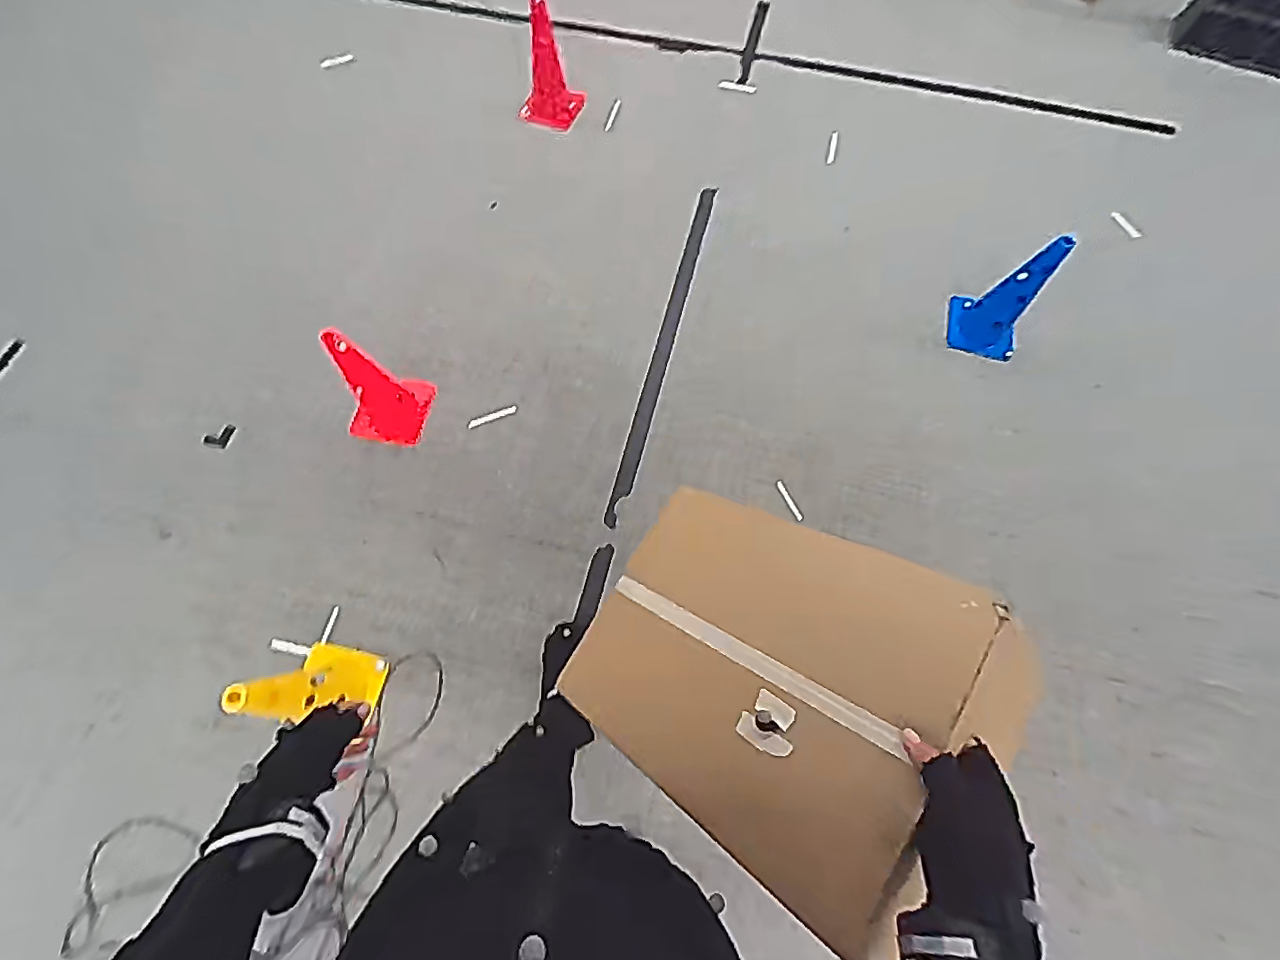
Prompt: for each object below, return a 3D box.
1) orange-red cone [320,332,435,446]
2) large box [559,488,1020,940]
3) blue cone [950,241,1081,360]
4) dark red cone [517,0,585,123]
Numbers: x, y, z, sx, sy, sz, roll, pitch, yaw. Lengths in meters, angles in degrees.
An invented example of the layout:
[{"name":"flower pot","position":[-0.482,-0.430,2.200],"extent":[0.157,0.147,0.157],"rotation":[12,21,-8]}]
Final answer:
[{"name":"orange-red cone","position":[-0.698,-0.256,1.374],"extent":[0.198,0.360,0.199],"rotation":[11,71,4]},{"name":"large box","position":[0.185,0.255,0.674],"extent":[0.408,0.320,0.320],"rotation":[19,72,45]},{"name":"blue cone","position":[1.066,-0.522,1.521],"extent":[0.192,0.380,0.193],"rotation":[17,70,4]},{"name":"dark red cone","position":[-0.313,-1.426,1.791],"extent":[0.201,0.394,0.202],"rotation":[19,71,5]}]
